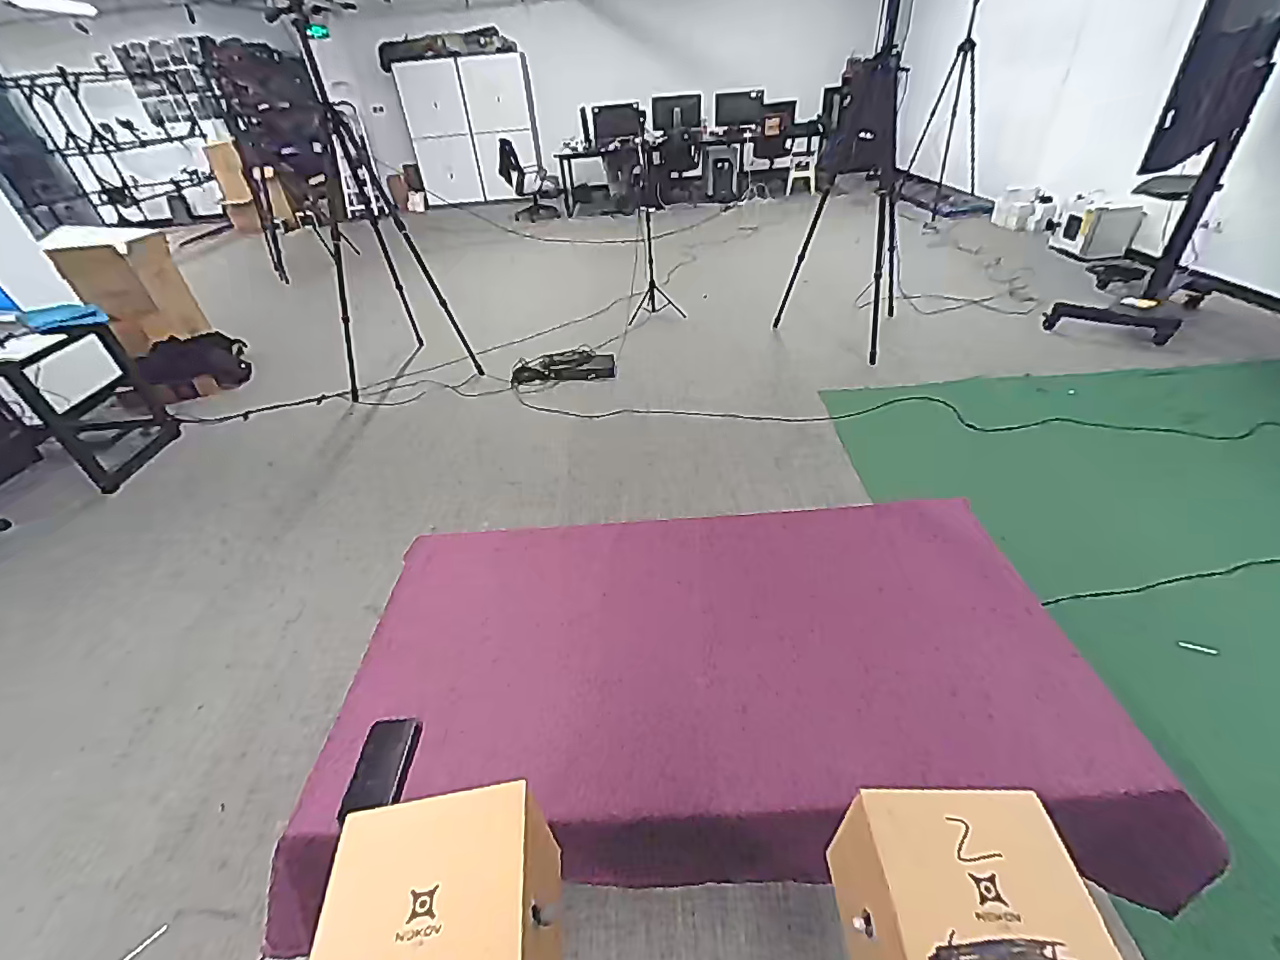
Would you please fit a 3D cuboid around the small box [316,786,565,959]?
[{"bbox_3d":[-0.161,0.408,0.475,0.168,0.176,0.179,-8,38,-4],"label":"small box"}]
